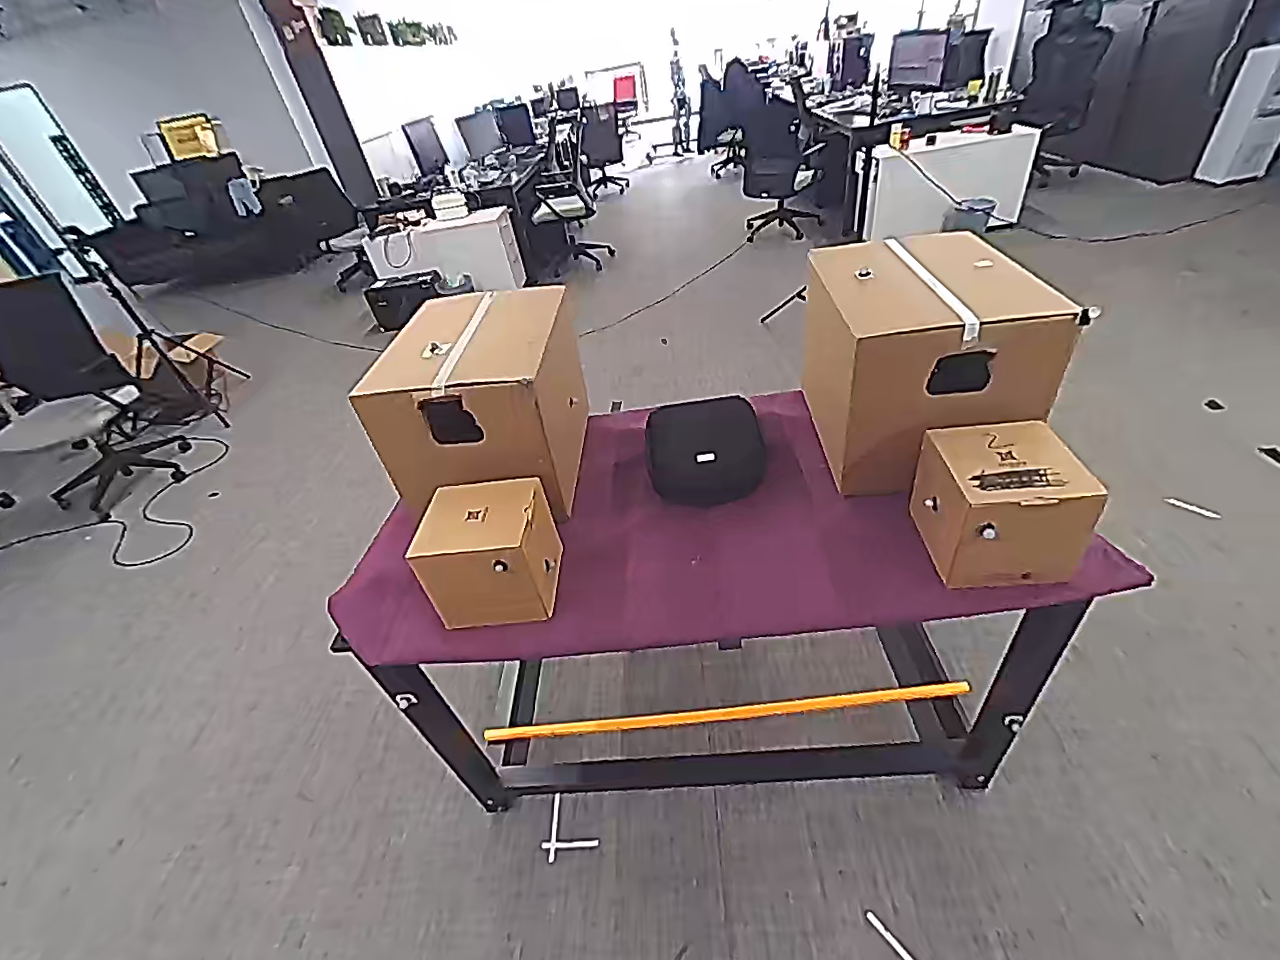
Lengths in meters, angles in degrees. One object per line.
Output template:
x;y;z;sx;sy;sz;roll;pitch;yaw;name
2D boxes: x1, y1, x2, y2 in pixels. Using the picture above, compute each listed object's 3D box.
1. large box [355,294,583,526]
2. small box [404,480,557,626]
-0.303;-0.146;1.117;0.320;0.320;0.408;-5;41;5;large box
-0.248;0.122;0.888;0.179;0.176;0.168;-7;37;4;small box
